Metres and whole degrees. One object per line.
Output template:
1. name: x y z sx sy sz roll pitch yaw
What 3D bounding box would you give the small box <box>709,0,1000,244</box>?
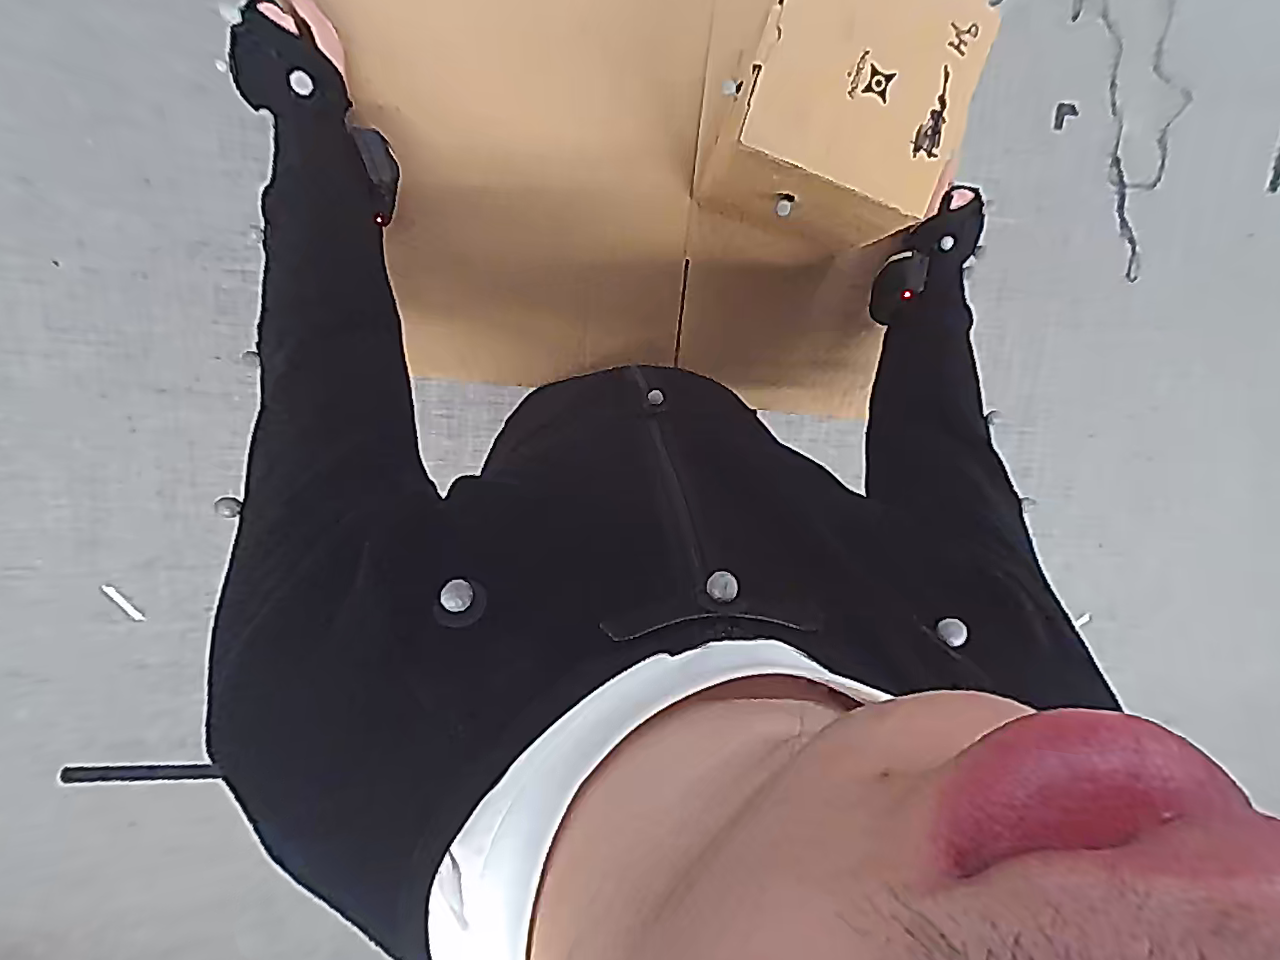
1. small box: 0.180 -0.347 0.517 0.179 0.176 0.168 17 100 -7
